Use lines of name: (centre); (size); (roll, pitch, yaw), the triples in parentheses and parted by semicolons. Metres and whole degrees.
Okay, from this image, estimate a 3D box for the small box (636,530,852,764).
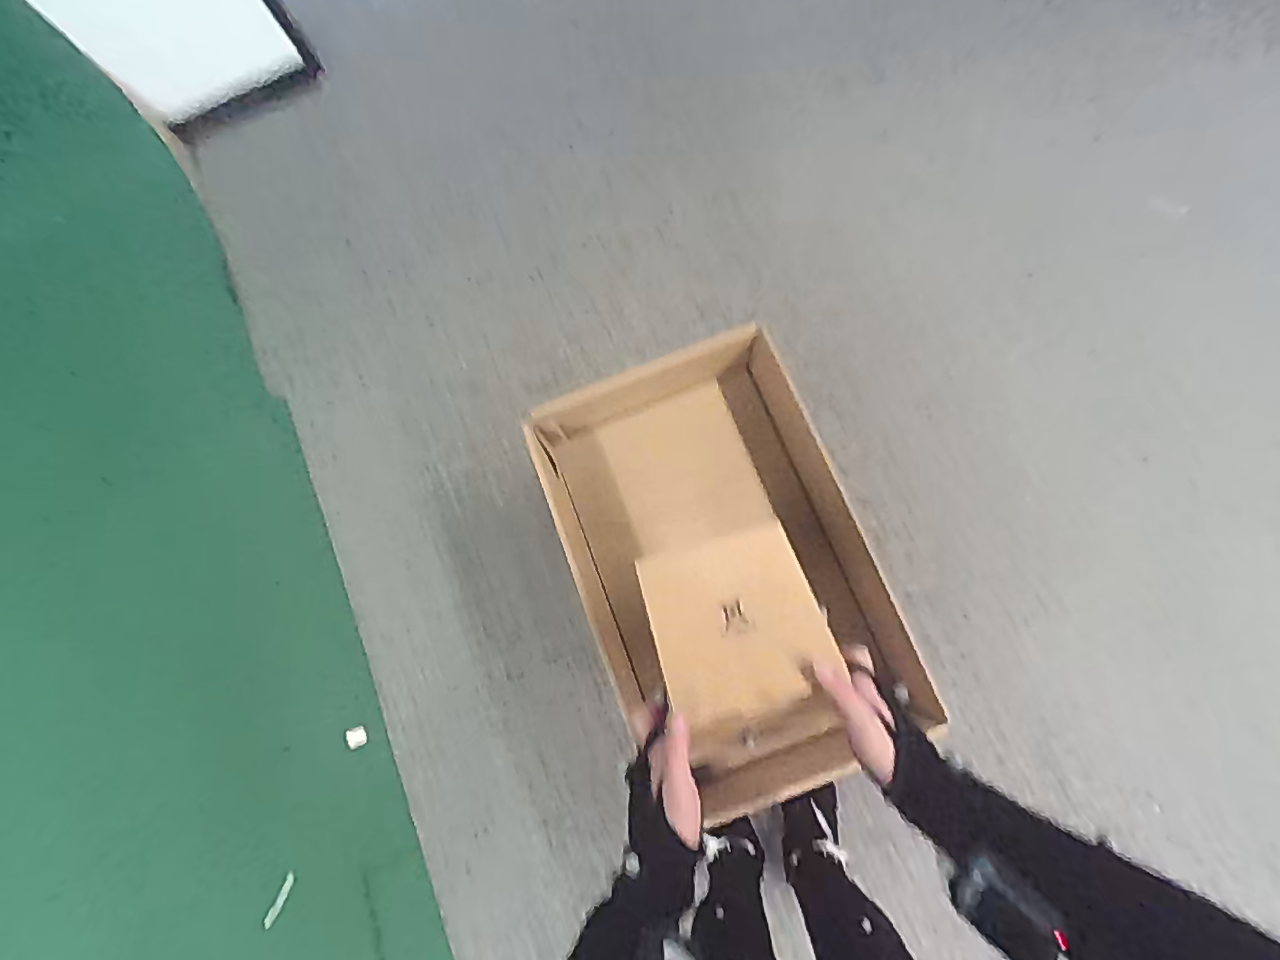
small box: (0.098, 0.184, 0.587); (0.168, 0.176, 0.179); (-14, 55, -3)
